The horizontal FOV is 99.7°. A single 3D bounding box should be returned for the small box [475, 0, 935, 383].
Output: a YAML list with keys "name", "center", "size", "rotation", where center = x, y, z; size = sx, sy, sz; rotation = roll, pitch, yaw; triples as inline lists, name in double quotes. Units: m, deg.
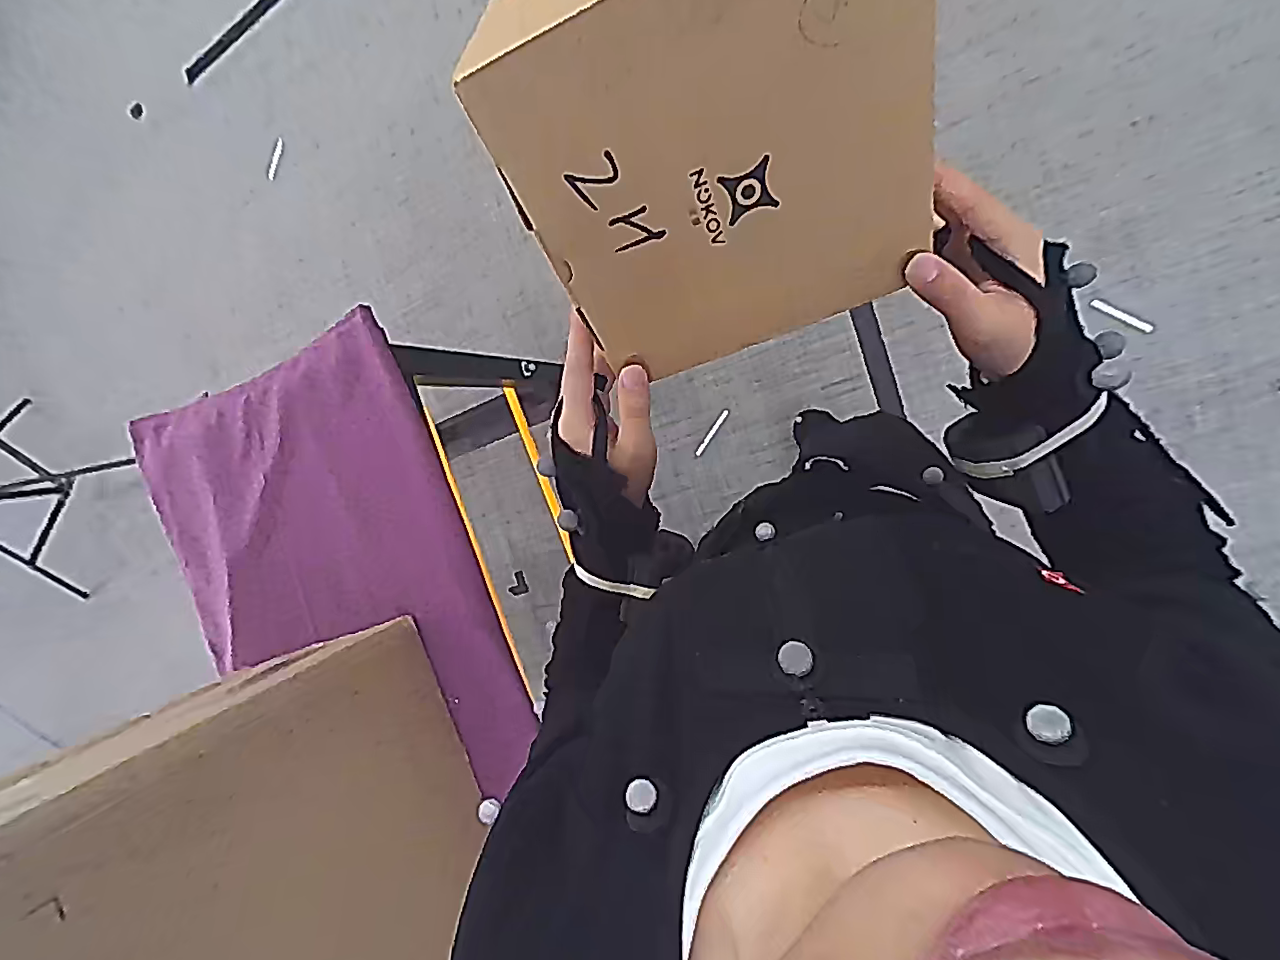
- name: "small box"
  center: [0.036, -0.191, 0.297]
  size: [0.179, 0.168, 0.176]
  rotation: [-18, 48, 14]
